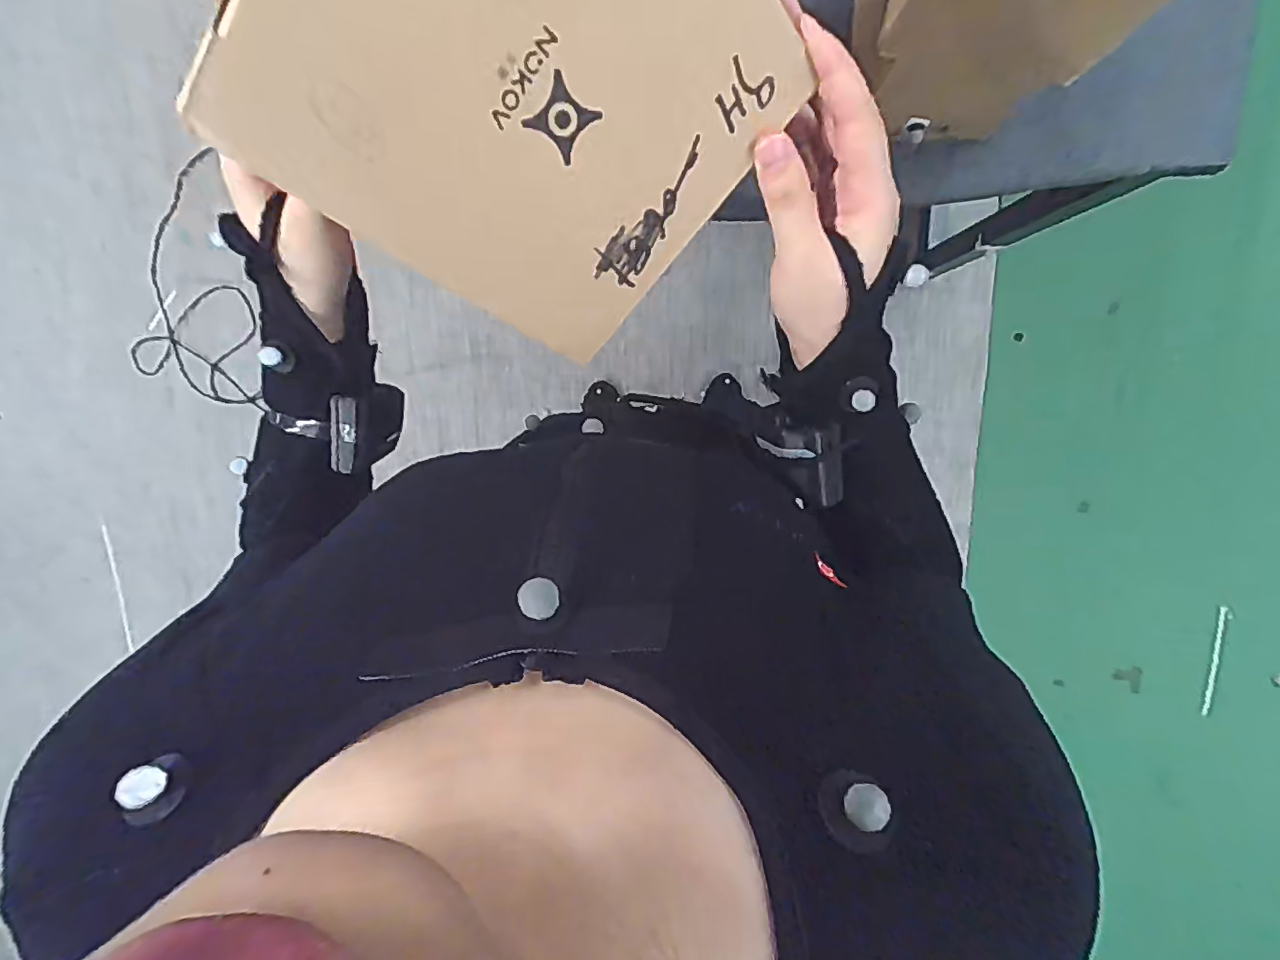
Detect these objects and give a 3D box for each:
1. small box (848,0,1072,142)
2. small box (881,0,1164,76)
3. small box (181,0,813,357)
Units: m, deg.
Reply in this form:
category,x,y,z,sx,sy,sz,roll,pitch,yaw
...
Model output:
category,x,y,z,sx,sy,sz,roll,pitch,yaw
small box,0.322,-0.477,0.550,0.168,0.176,0.179,2,100,5
small box,0.309,-0.436,0.393,0.179,0.176,0.168,13,100,4
small box,-0.062,-0.198,0.255,0.179,0.176,0.168,26,117,-41
